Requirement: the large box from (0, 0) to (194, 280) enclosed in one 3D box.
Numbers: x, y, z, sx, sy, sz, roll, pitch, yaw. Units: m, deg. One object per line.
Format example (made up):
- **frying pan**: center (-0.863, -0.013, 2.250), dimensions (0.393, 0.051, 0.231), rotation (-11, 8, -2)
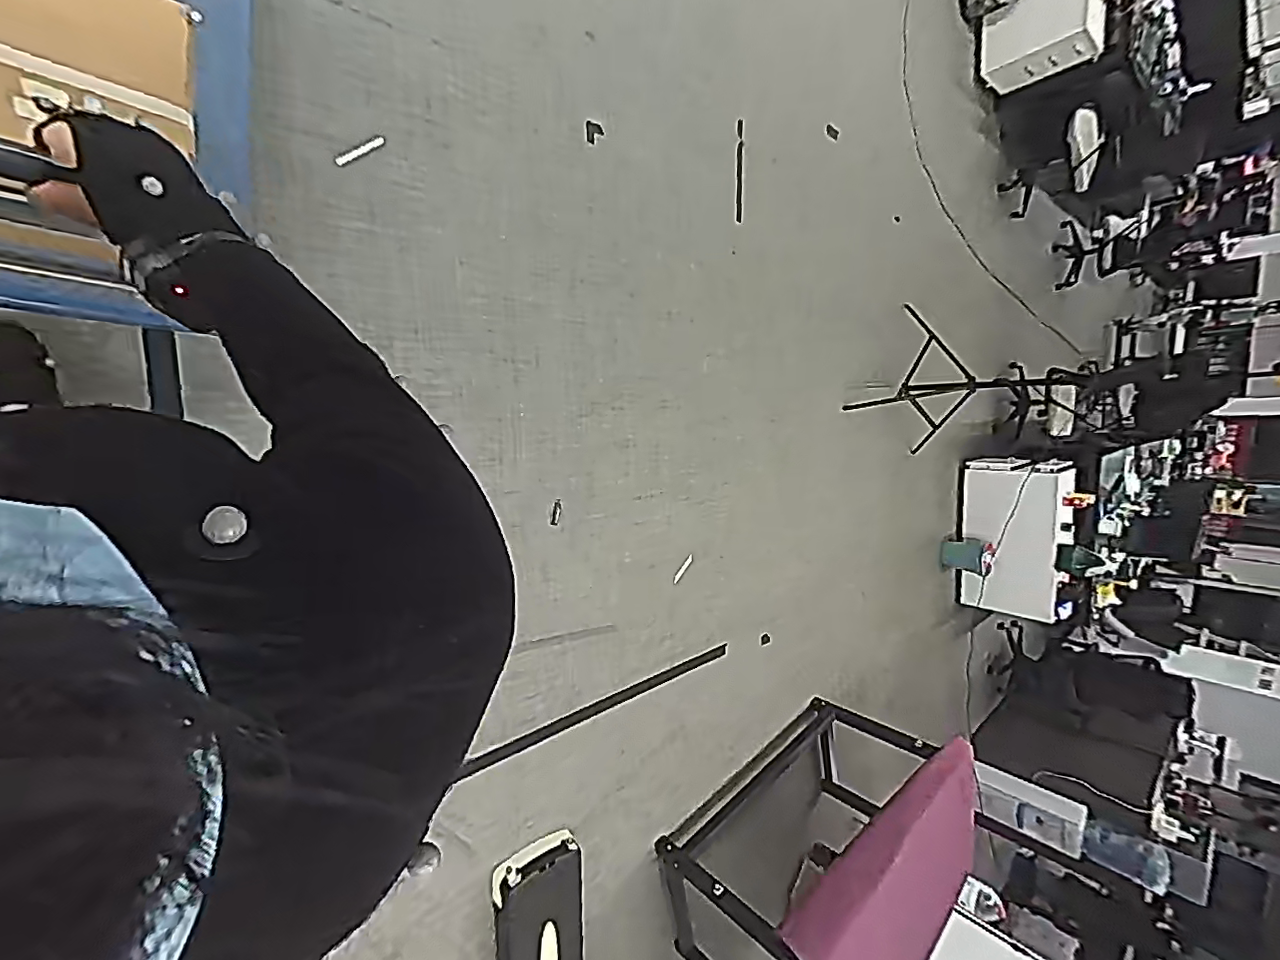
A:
- **large box**: center (-0.884, -0.507, 0.742), dimensions (0.408, 0.320, 0.320), rotation (2, 93, -42)
